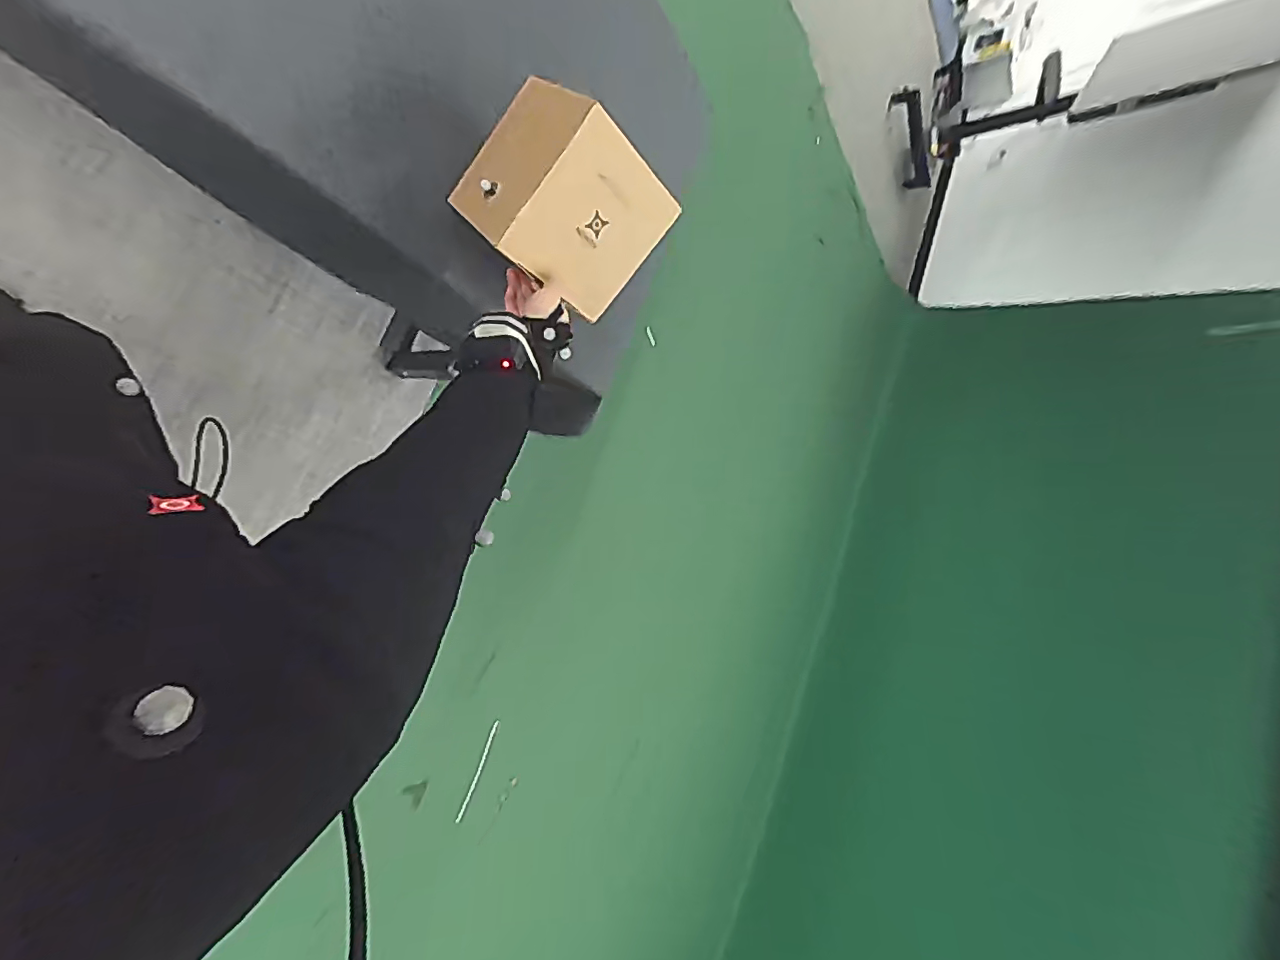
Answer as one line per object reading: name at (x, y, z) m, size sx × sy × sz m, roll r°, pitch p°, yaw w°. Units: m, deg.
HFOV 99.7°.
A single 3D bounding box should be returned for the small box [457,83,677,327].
small box at (-0.095, -0.327, 0.651) m, size 0.179 × 0.176 × 0.168 m, roll -49°, pitch 143°, yaw 12°
